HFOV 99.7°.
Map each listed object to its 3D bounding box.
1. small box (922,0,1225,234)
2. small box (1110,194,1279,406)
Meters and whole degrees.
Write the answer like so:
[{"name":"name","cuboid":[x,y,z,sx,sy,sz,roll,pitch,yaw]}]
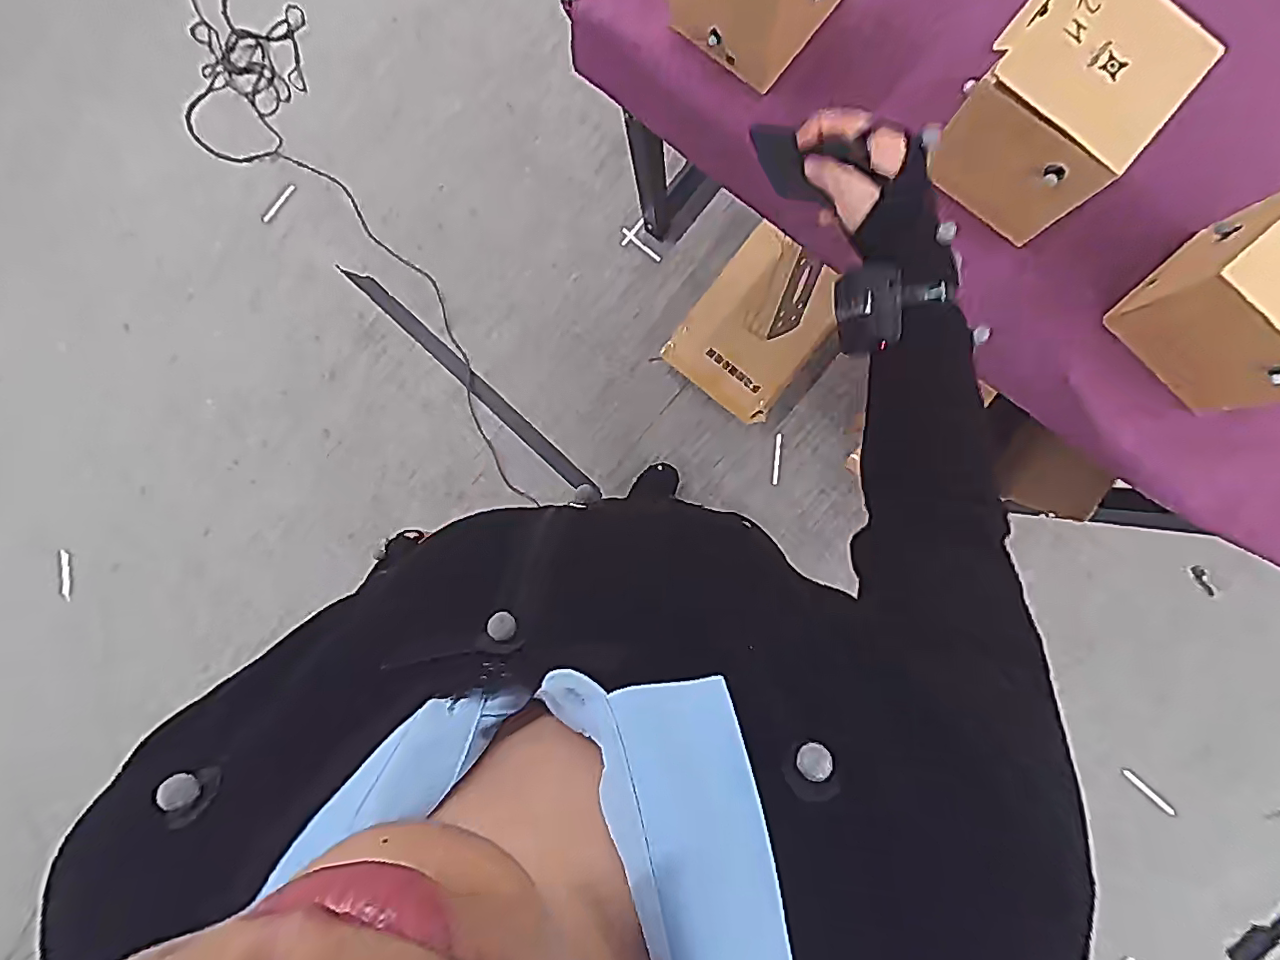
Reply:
[{"name":"small box","cuboid":[0.481,-0.423,0.633,0.179,0.176,0.168,39,91,4]},{"name":"small box","cuboid":[0.710,-0.203,0.614,0.168,0.176,0.179,-44,87,4]}]
